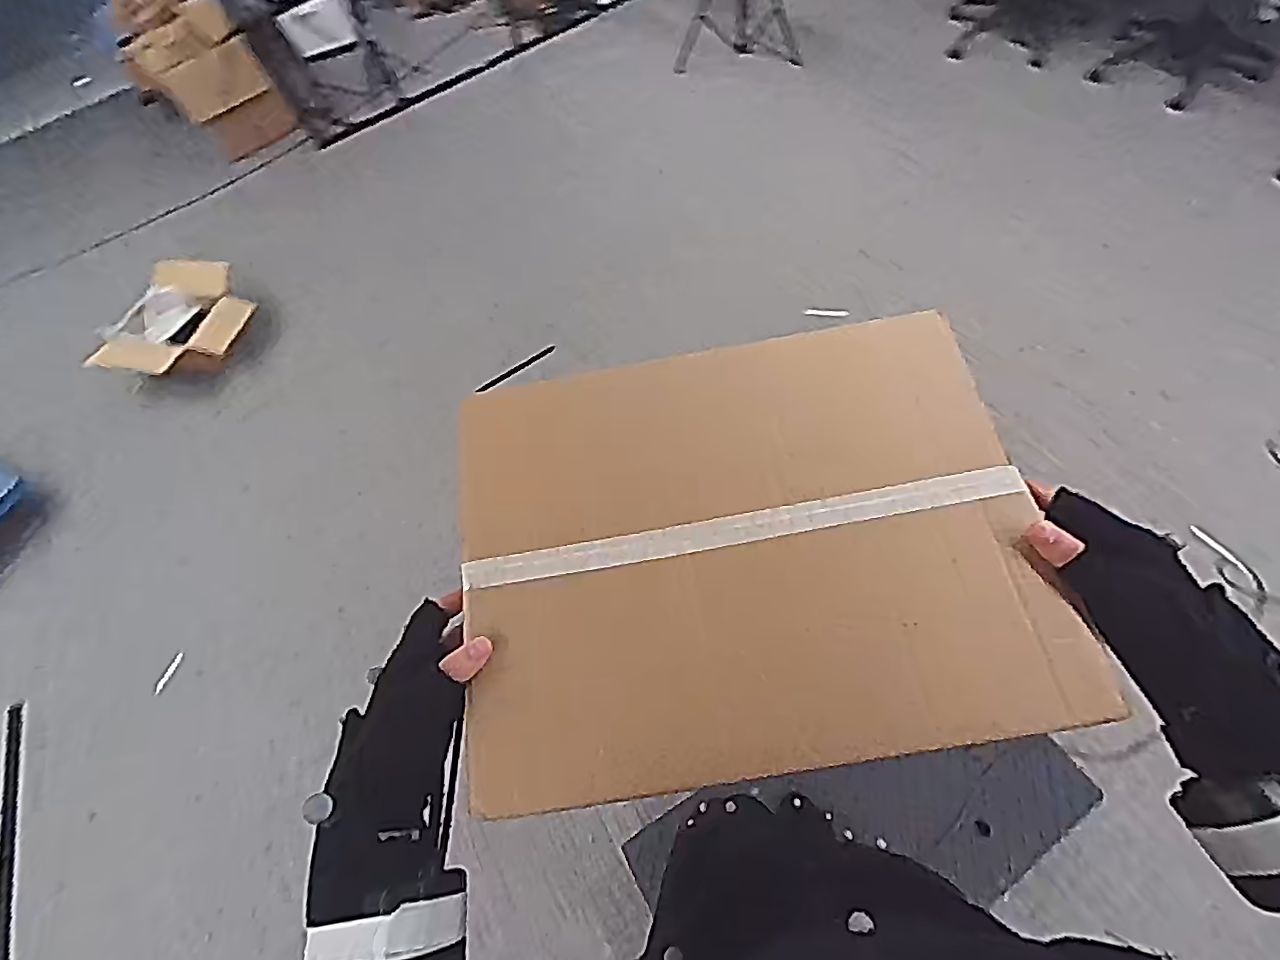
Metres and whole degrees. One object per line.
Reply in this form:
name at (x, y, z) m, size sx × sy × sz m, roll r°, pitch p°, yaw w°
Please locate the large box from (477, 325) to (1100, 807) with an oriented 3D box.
large box at (0.090, 0.094, 0.537) m, size 0.408 × 0.320 × 0.320 m, roll -9°, pitch 66°, yaw 2°
